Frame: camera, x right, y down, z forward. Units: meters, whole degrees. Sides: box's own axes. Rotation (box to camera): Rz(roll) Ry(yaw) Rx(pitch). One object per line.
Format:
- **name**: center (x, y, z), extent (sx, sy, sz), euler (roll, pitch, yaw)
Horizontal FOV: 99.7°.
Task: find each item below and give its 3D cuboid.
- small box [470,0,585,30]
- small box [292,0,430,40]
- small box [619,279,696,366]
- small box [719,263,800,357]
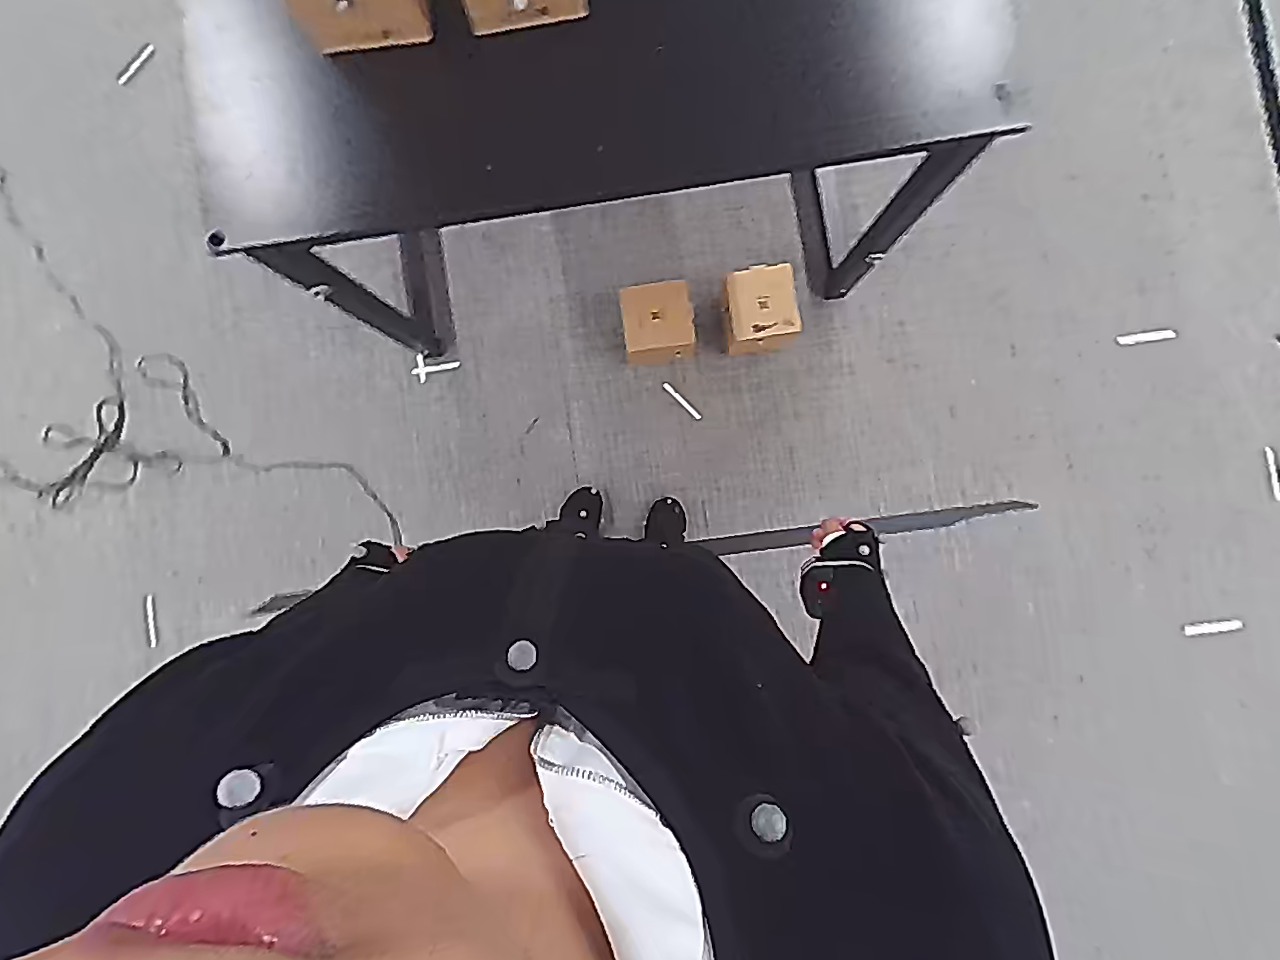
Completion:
- **small box**: center (-0.171, -0.754, 0.712), extent (0.168, 0.176, 0.179), euler (-8, 89, 2)
- **small box**: center (-0.394, -0.729, 0.718), extent (0.168, 0.176, 0.179), euler (-5, 89, 1)
- **small box**: center (0.046, -0.409, 1.430), extent (0.179, 0.176, 0.168), euler (-8, 88, 3)
- **small box**: center (0.307, -0.440, 1.420), extent (0.168, 0.176, 0.179), euler (-9, 88, 2)
